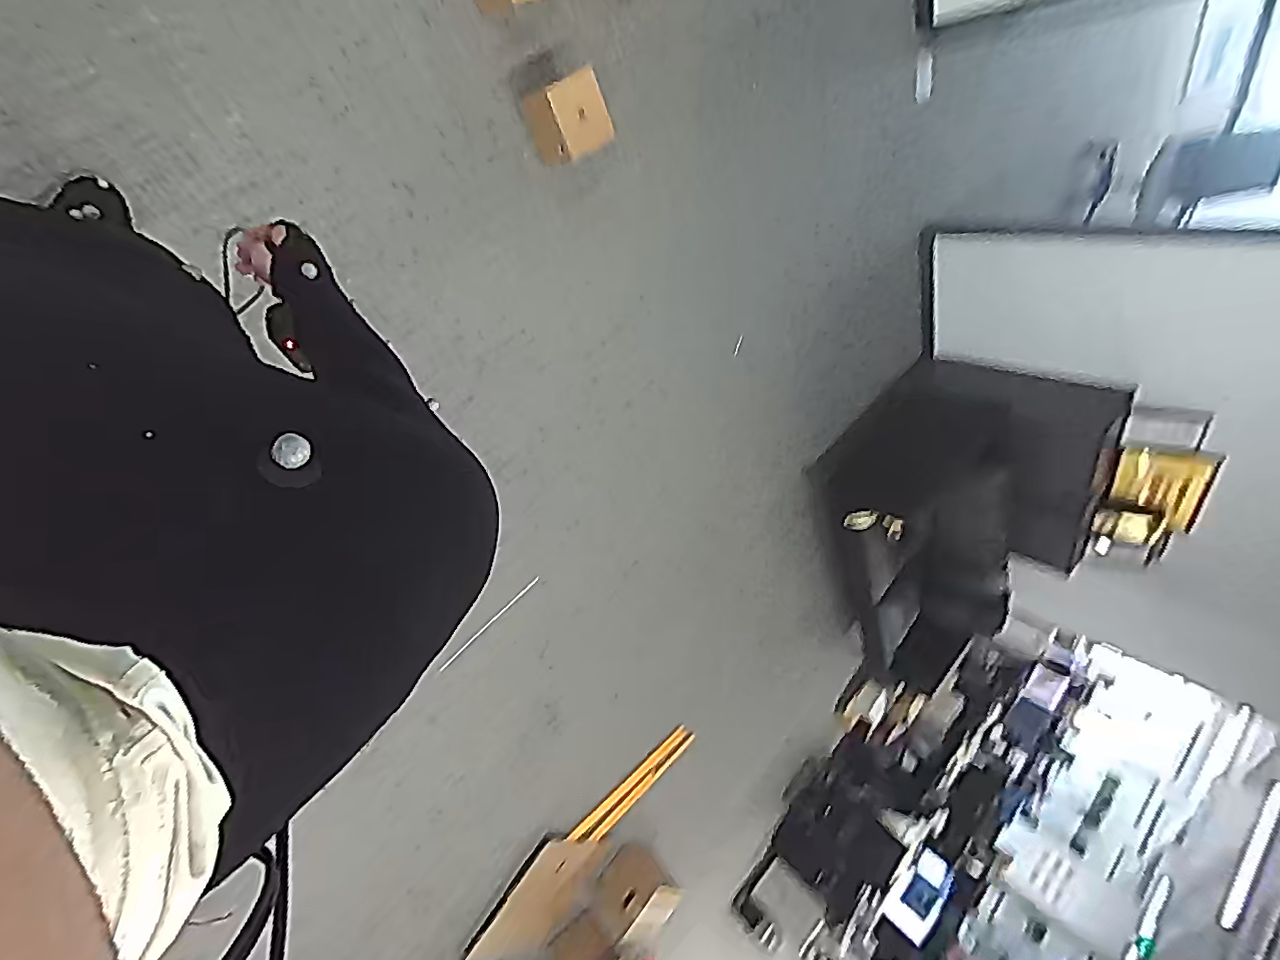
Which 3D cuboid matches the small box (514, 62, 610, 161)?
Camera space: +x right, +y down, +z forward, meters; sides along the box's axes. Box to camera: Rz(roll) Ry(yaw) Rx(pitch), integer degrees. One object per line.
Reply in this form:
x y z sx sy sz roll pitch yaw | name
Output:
-0.222 -1.021 1.512 0.168 0.176 0.179 -44 134 -18 | small box
